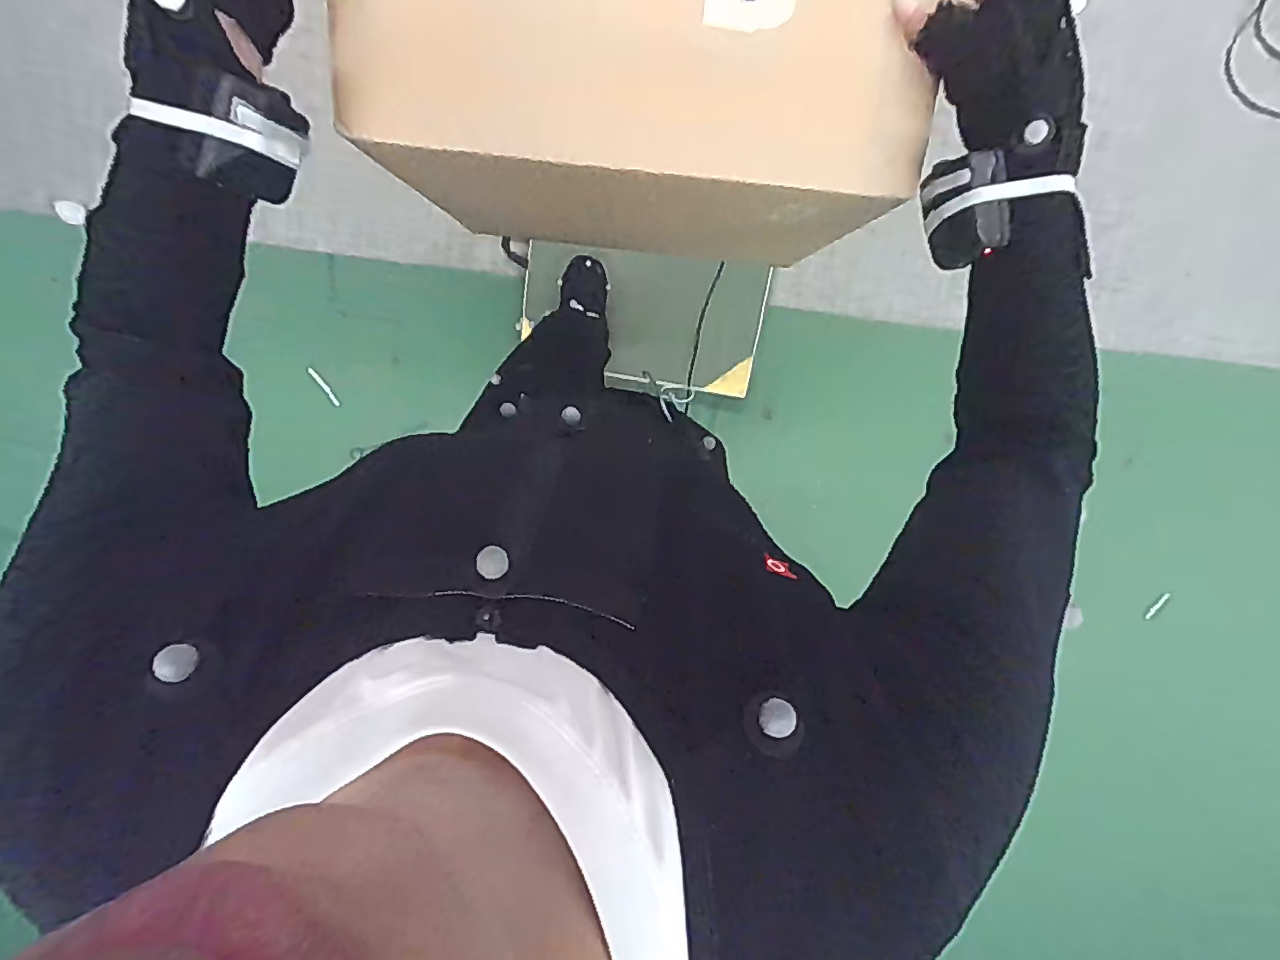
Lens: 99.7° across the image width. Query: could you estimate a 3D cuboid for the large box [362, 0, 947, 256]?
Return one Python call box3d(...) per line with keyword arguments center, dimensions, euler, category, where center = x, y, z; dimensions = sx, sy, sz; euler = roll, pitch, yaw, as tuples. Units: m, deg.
box3d(center=(0.011, -0.410, 0.499), dimensions=(0.408, 0.320, 0.320), euler=(4, 104, -3), category="large box")
